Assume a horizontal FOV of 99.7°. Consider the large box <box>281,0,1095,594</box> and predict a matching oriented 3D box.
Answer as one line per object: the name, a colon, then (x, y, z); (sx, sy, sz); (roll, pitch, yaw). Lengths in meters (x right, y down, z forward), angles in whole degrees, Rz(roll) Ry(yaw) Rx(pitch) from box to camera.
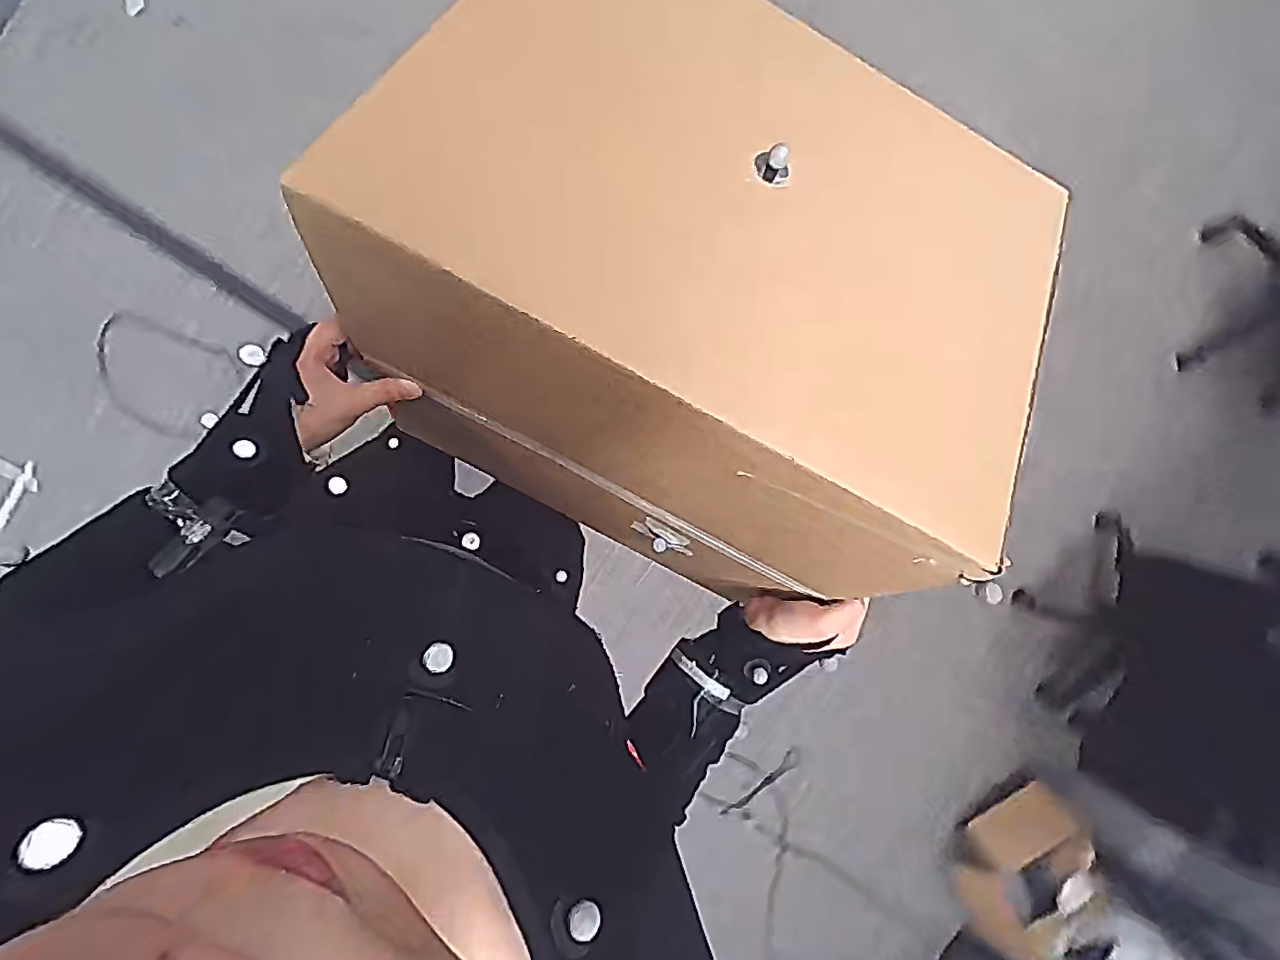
large box: (0.045, -0.144, 0.436); (0.408, 0.320, 0.320); (26, 70, -5)
